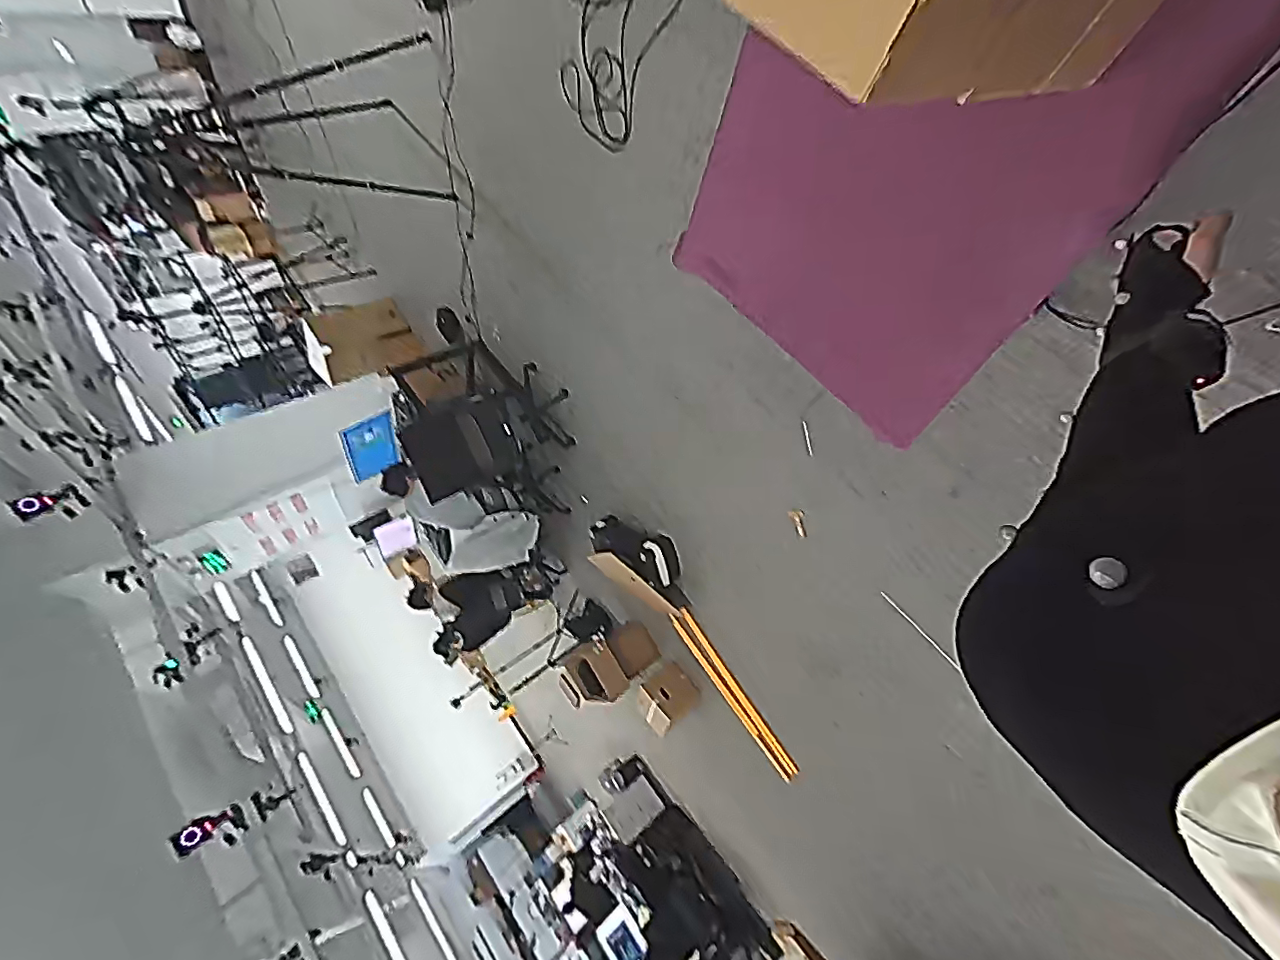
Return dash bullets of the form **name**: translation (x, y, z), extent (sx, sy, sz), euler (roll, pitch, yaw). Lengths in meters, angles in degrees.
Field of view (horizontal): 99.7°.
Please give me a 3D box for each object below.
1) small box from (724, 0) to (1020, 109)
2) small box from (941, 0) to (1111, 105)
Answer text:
- **small box**: translation (0.189, -0.401, 0.381), extent (0.179, 0.176, 0.168), euler (52, 147, 16)
- **small box**: translation (0.317, -0.462, 0.462), extent (0.168, 0.176, 0.179), euler (52, 148, 16)
